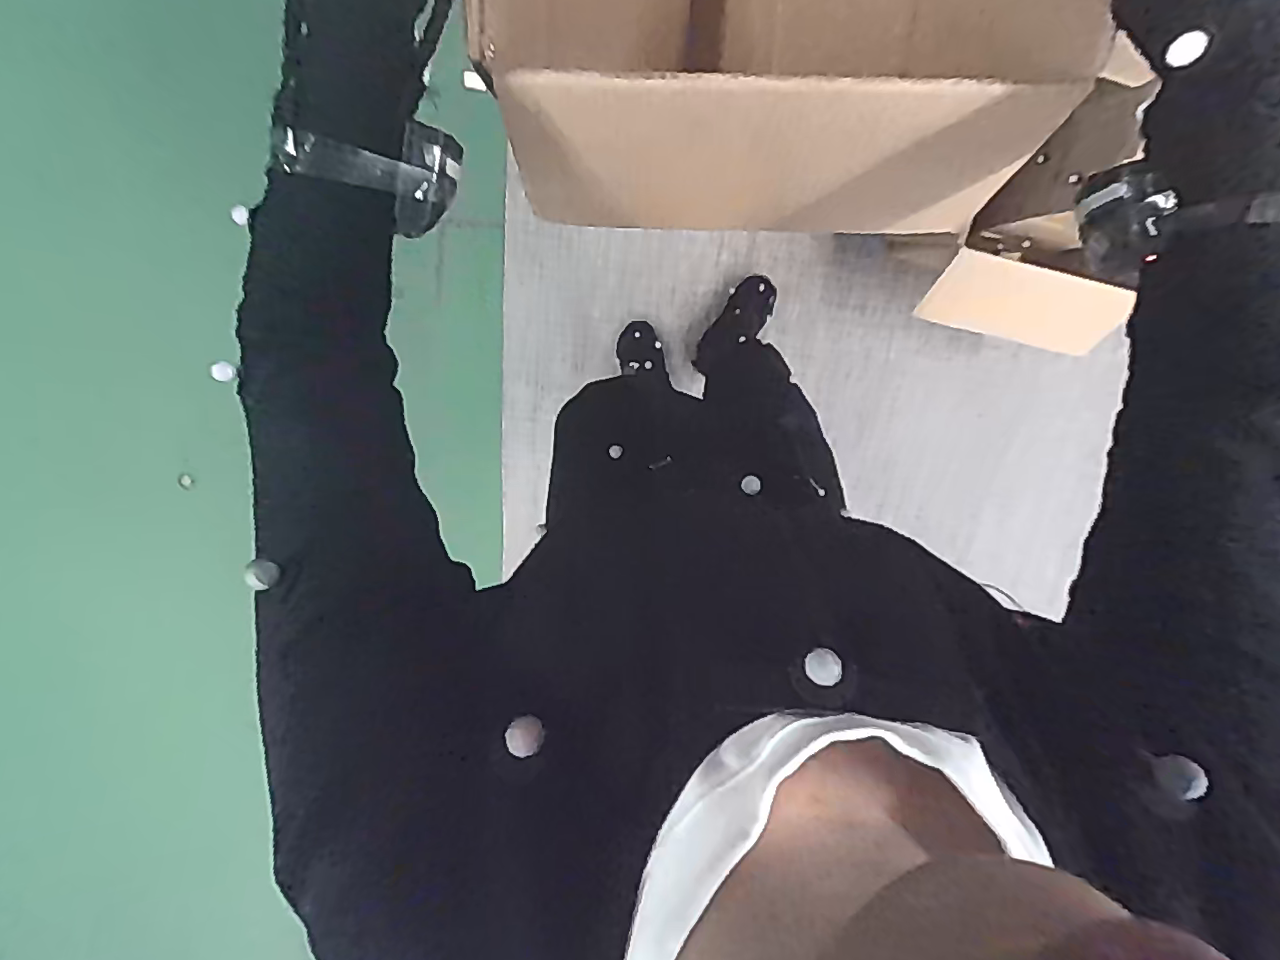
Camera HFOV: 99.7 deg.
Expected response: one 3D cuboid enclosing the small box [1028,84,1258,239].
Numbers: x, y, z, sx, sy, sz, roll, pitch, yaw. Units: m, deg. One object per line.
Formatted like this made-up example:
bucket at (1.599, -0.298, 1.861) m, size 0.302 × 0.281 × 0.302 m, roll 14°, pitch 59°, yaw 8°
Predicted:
small box at (0.778, -0.491, 0.863) m, size 0.179 × 0.176 × 0.168 m, roll 11°, pitch 110°, yaw -3°
